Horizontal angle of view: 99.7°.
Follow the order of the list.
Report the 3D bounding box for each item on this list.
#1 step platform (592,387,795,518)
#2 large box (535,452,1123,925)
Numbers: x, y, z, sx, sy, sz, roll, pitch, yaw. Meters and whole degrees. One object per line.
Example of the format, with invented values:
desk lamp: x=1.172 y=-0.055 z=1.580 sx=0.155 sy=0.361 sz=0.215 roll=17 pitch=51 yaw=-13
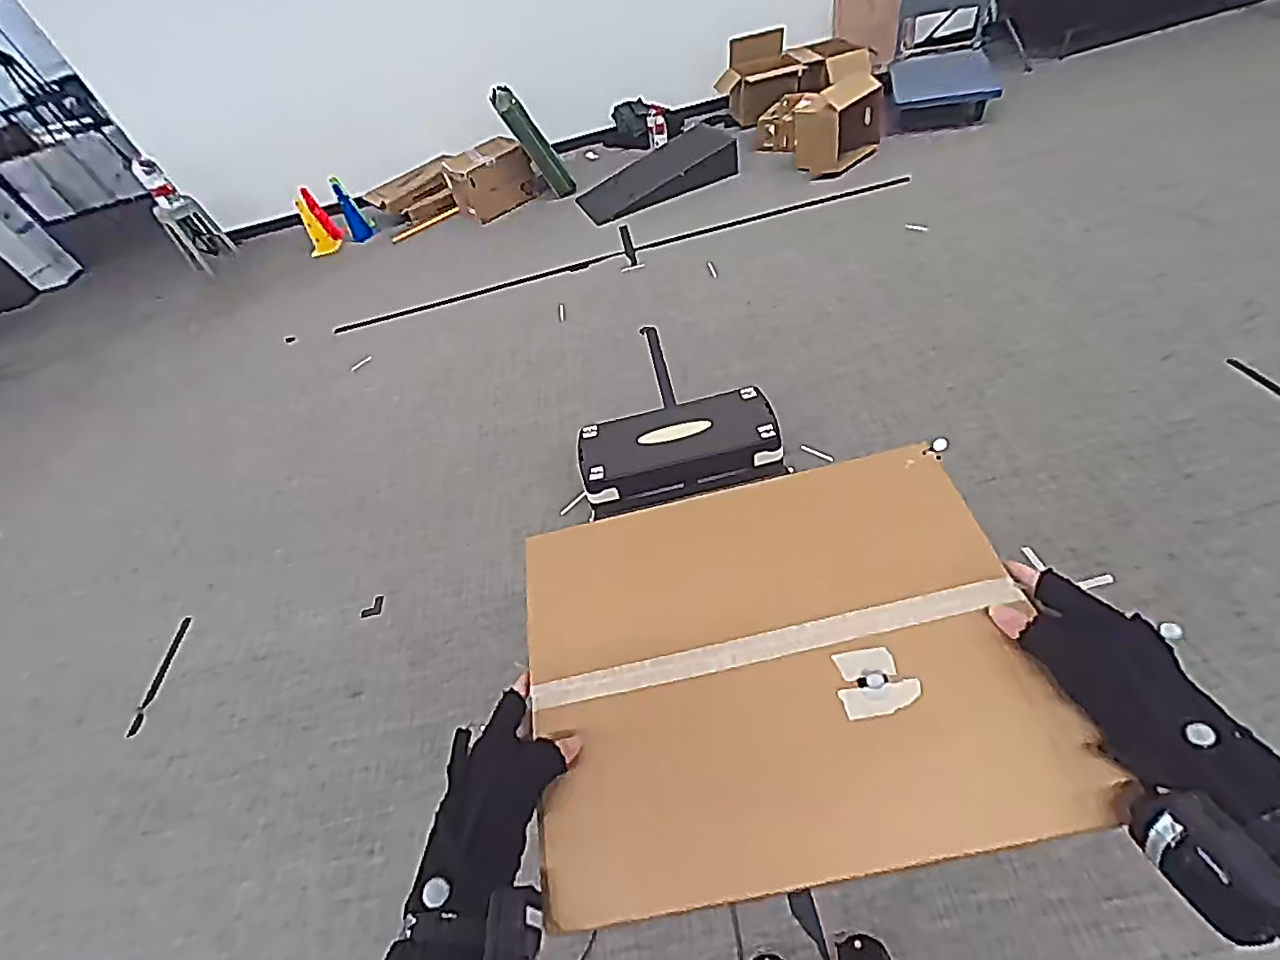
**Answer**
step platform: x=0.176 y=-0.101 z=1.873 sx=0.684 sy=0.204 sz=0.286 roll=-14 pitch=48 yaw=2
large box: x=0.135 y=0.225 z=0.576 sx=0.408 sy=0.320 sz=0.320 roll=-14 pitch=55 yaw=3
